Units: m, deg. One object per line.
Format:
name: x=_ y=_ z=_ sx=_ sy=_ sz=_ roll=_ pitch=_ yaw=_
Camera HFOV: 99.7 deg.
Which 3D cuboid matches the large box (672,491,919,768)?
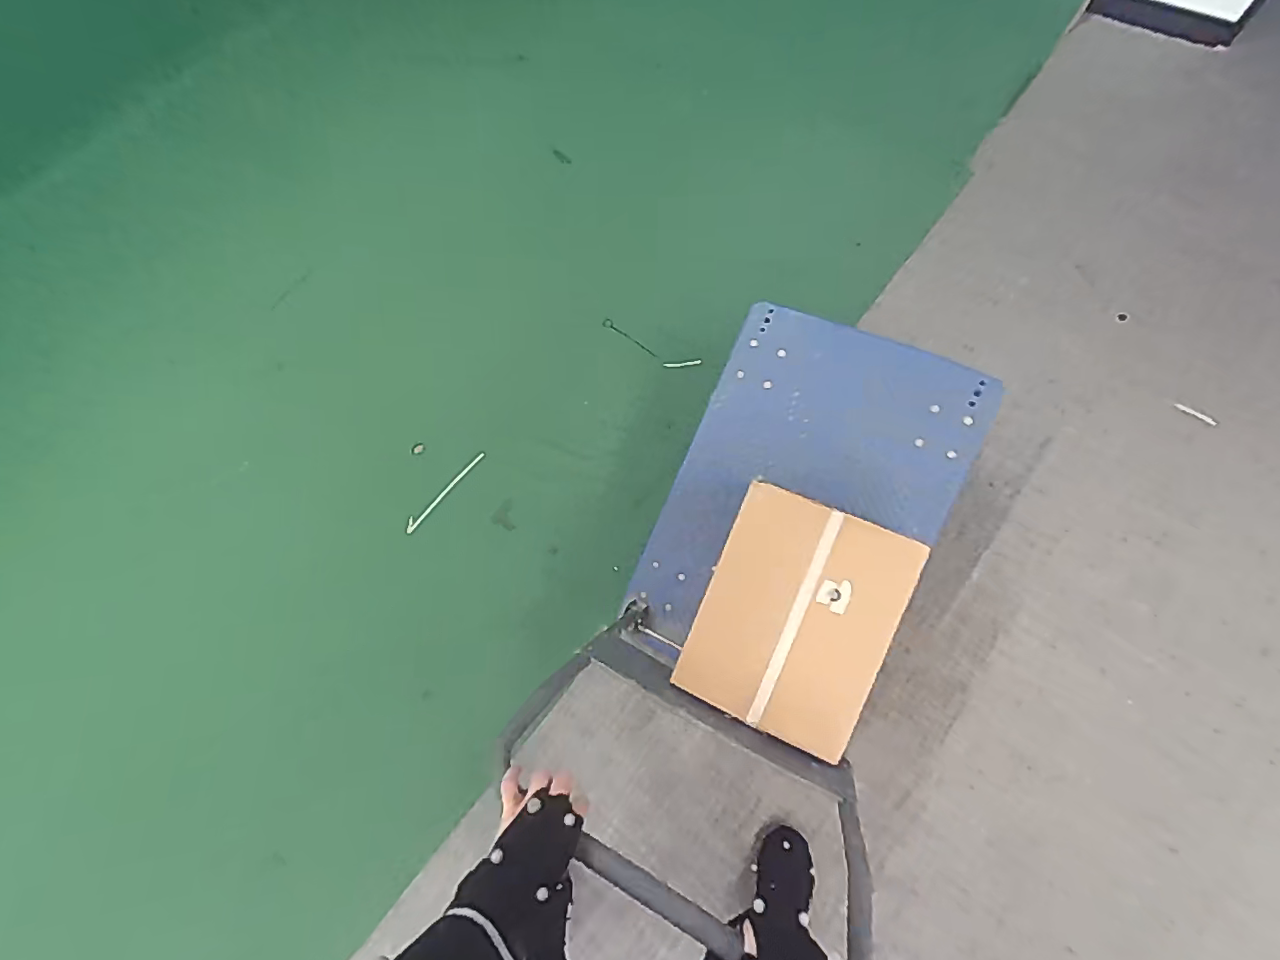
large box: x=0.303 y=0.271 z=1.103 sx=0.320 sy=0.320 sz=0.408 roll=23 pitch=92 yaw=14
